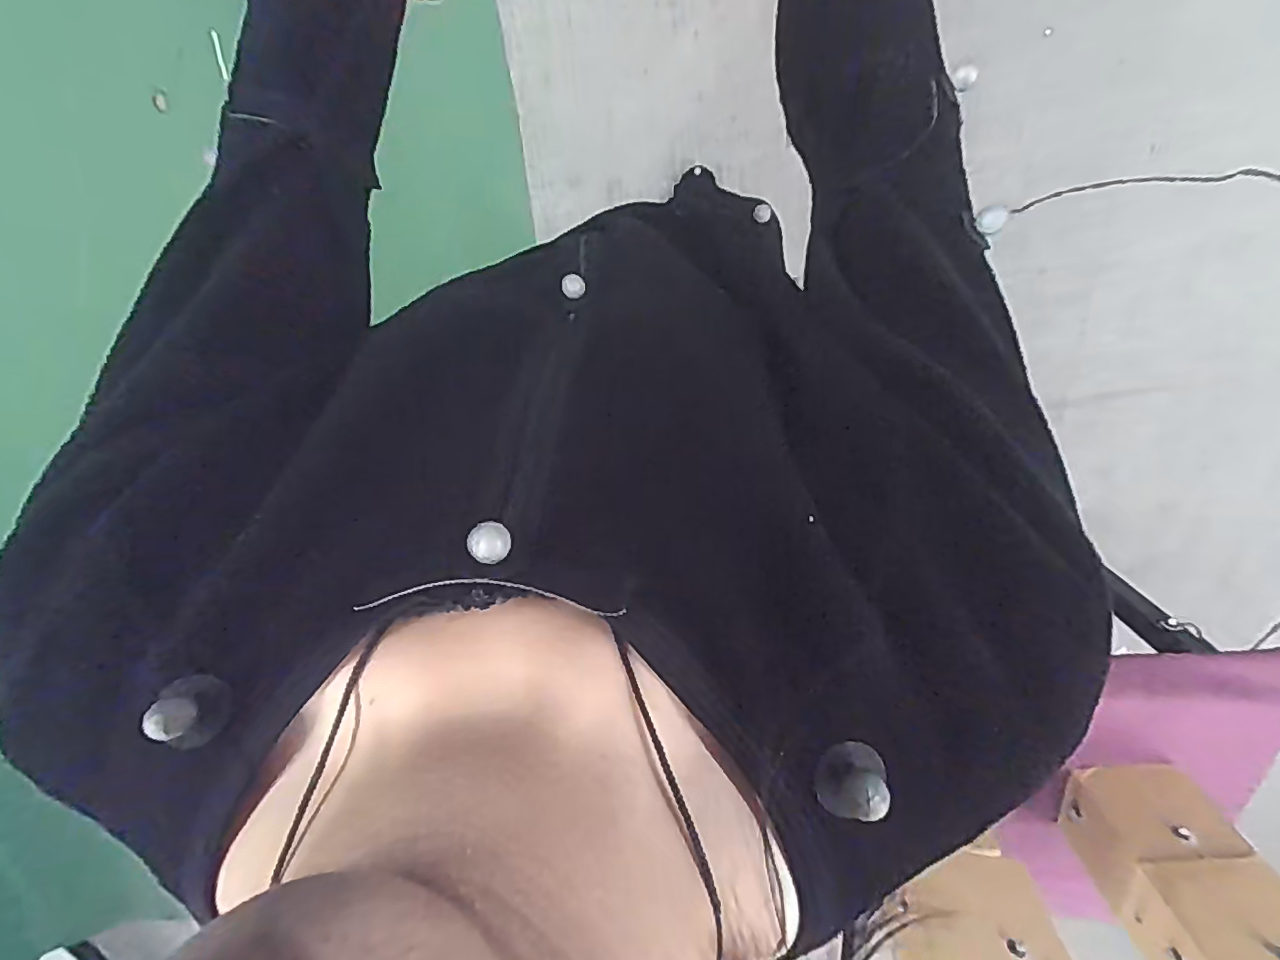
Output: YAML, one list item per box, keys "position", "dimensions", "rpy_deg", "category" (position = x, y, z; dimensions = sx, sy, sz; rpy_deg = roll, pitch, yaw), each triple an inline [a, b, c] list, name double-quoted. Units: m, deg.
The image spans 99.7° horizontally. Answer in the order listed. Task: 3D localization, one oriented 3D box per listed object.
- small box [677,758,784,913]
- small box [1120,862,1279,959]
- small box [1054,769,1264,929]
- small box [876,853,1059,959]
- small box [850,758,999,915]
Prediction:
- position: [0.152, 0.626, 0.964]
  dimensions: [0.168, 0.176, 0.179]
  rpy_deg: [1, 114, 3]
  category: "small box"
- position: [0.838, 0.678, 0.764]
  dimensions: [0.179, 0.176, 0.168]
  rpy_deg: [-9, 112, 7]
  category: "small box"
- position: [0.854, 0.615, 0.912]
  dimensions: [0.179, 0.176, 0.168]
  rpy_deg: [-6, 113, 7]
  category: "small box"
- position: [0.477, 0.683, 0.787]
  dimensions: [0.179, 0.176, 0.168]
  rpy_deg: [9, 115, 0]
  category: "small box"
- position: [0.477, 0.619, 0.939]
  dimensions: [0.168, 0.176, 0.179]
  rpy_deg: [-1, 114, 4]
  category: "small box"
